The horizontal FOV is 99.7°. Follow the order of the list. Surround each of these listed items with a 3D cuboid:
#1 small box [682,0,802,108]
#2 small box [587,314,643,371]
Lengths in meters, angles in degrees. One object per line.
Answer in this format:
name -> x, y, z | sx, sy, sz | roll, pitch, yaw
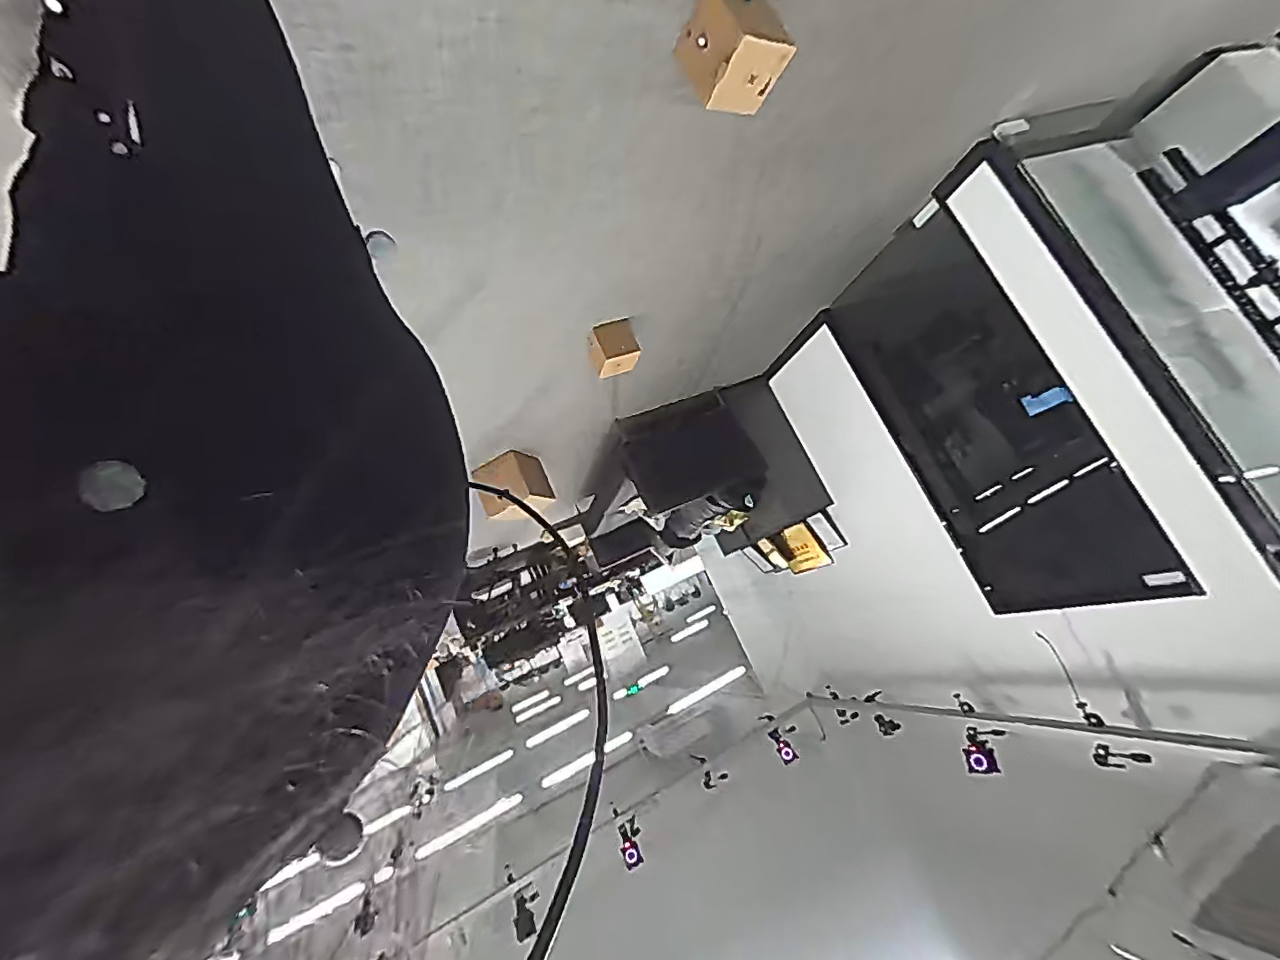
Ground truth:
small box -> 0.224, -0.997, 1.232 | 0.179, 0.176, 0.168 | -18, 168, -33
small box -> -0.115, -0.618, 2.410 | 0.179, 0.176, 0.168 | -20, 168, -21
